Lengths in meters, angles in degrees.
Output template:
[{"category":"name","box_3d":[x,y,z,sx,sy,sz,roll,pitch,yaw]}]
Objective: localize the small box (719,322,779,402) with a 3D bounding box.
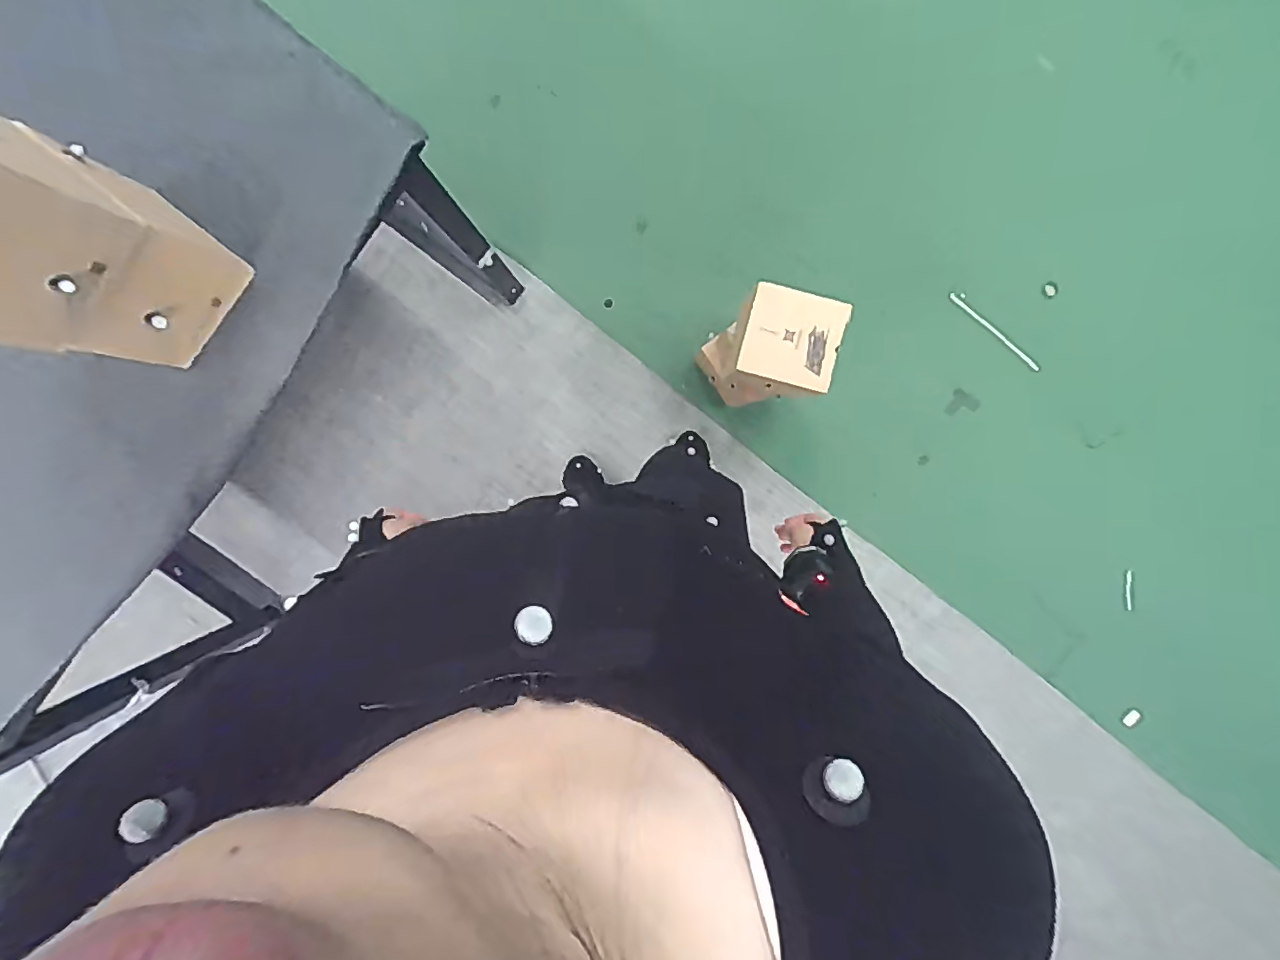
[{"category":"small box","box_3d":[0.282,-0.275,1.211,0.179,0.176,0.168,-15,97,0]}]

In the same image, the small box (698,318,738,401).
[{"category":"small box","box_3d":[0.260,-0.313,1.370,0.179,0.176,0.168,-36,95,3]}]

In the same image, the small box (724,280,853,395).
[{"category":"small box","box_3d":[0.276,-0.265,1.046,0.179,0.176,0.168,15,96,-1]}]

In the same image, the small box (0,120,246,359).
[{"category":"small box","box_3d":[-0.627,-0.259,0.637,0.179,0.176,0.168,38,94,-2]}]
